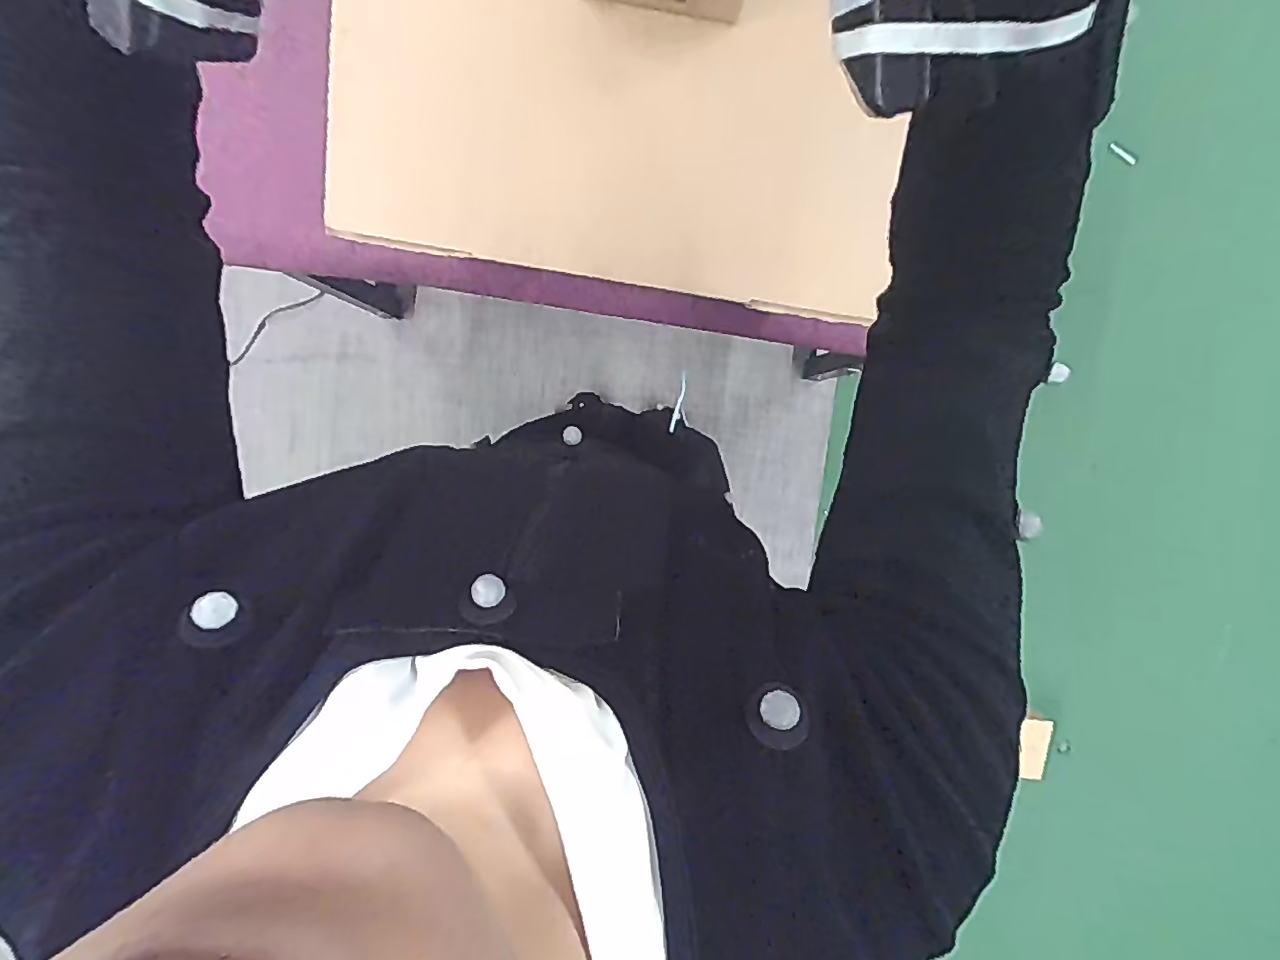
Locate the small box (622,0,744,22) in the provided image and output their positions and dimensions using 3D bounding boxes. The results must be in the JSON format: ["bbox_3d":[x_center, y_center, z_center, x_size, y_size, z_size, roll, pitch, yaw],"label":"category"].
[{"bbox_3d":[0.033,-0.536,0.438,0.168,0.176,0.179,9,94,-2],"label":"small box"}]
